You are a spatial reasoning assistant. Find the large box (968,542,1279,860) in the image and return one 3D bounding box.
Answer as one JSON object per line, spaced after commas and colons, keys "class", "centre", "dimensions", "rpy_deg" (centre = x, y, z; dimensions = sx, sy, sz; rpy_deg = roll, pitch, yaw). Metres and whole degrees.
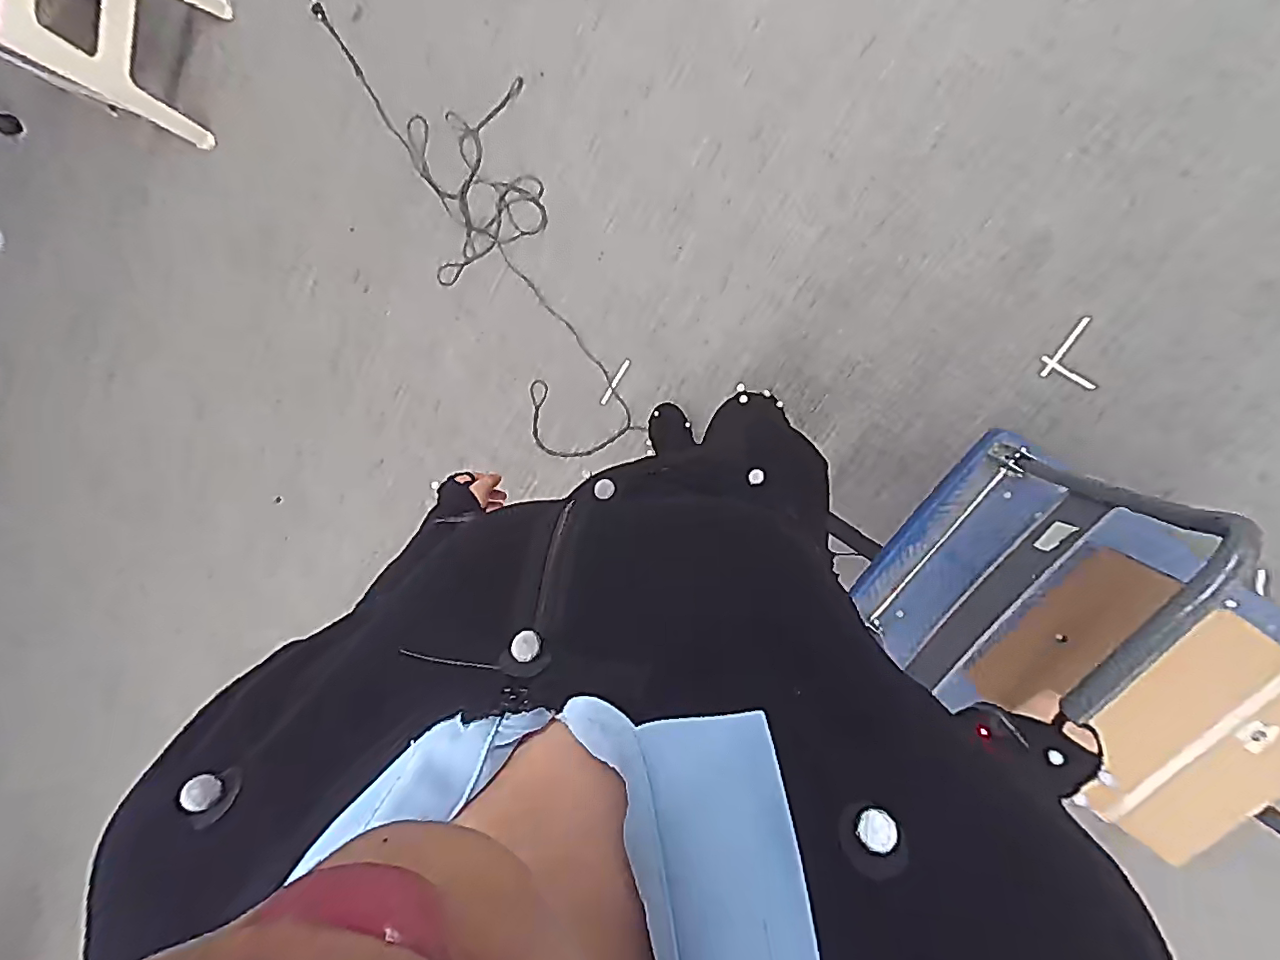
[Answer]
{"class": "large box", "centre": [0.950, 0.396, 1.047], "dimensions": [0.320, 0.320, 0.408], "rpy_deg": [36, 104, 2]}
